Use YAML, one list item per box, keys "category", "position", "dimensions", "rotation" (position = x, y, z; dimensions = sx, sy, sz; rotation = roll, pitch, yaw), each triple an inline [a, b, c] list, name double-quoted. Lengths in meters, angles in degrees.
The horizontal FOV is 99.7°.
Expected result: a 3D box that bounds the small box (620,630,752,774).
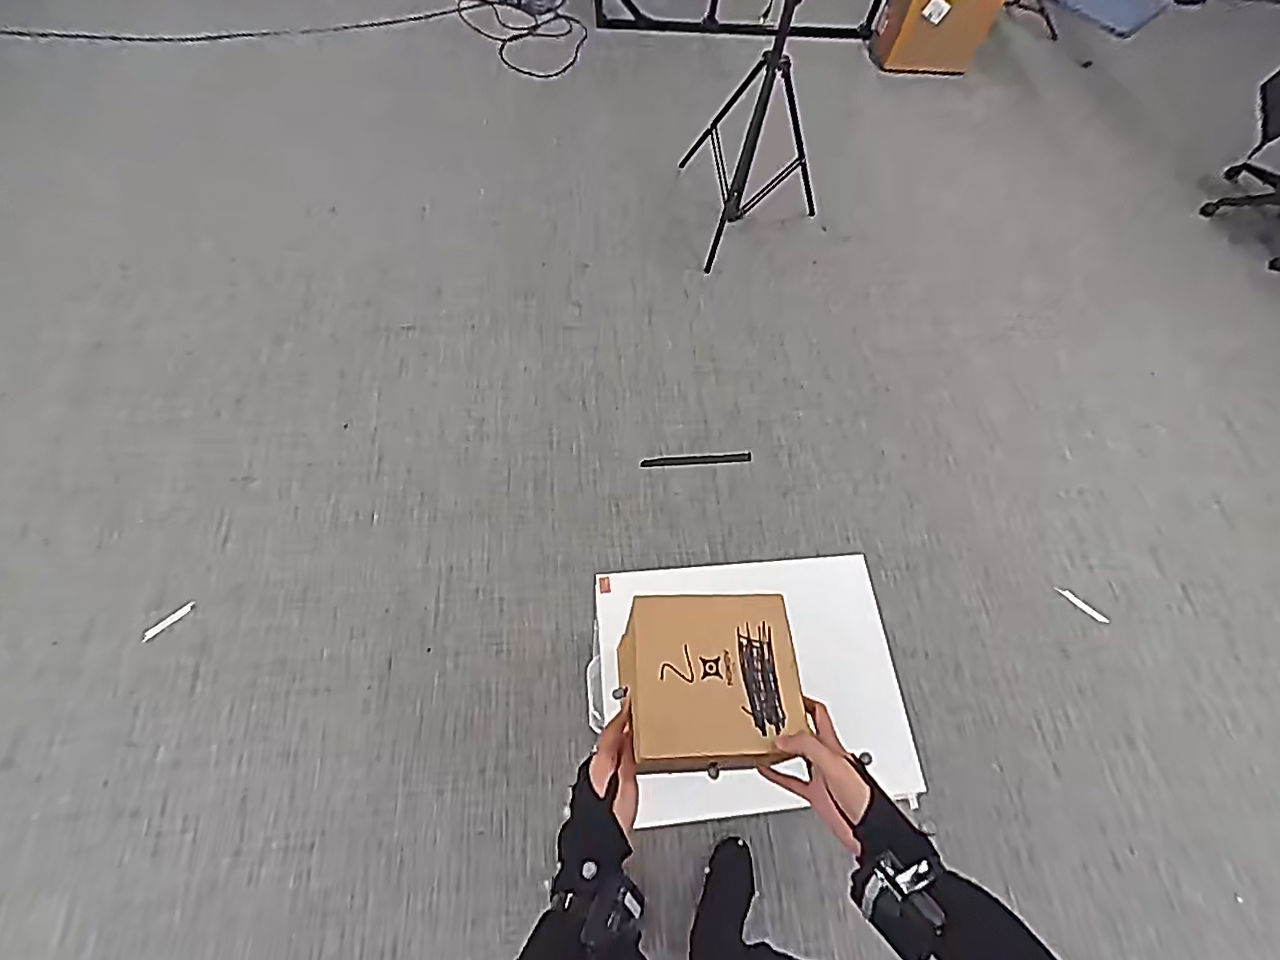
- category: "small box"
  position: [0.059, 0.333, 0.818]
  dimensions: [0.168, 0.176, 0.179]
  rotation: [-3, 65, -6]
